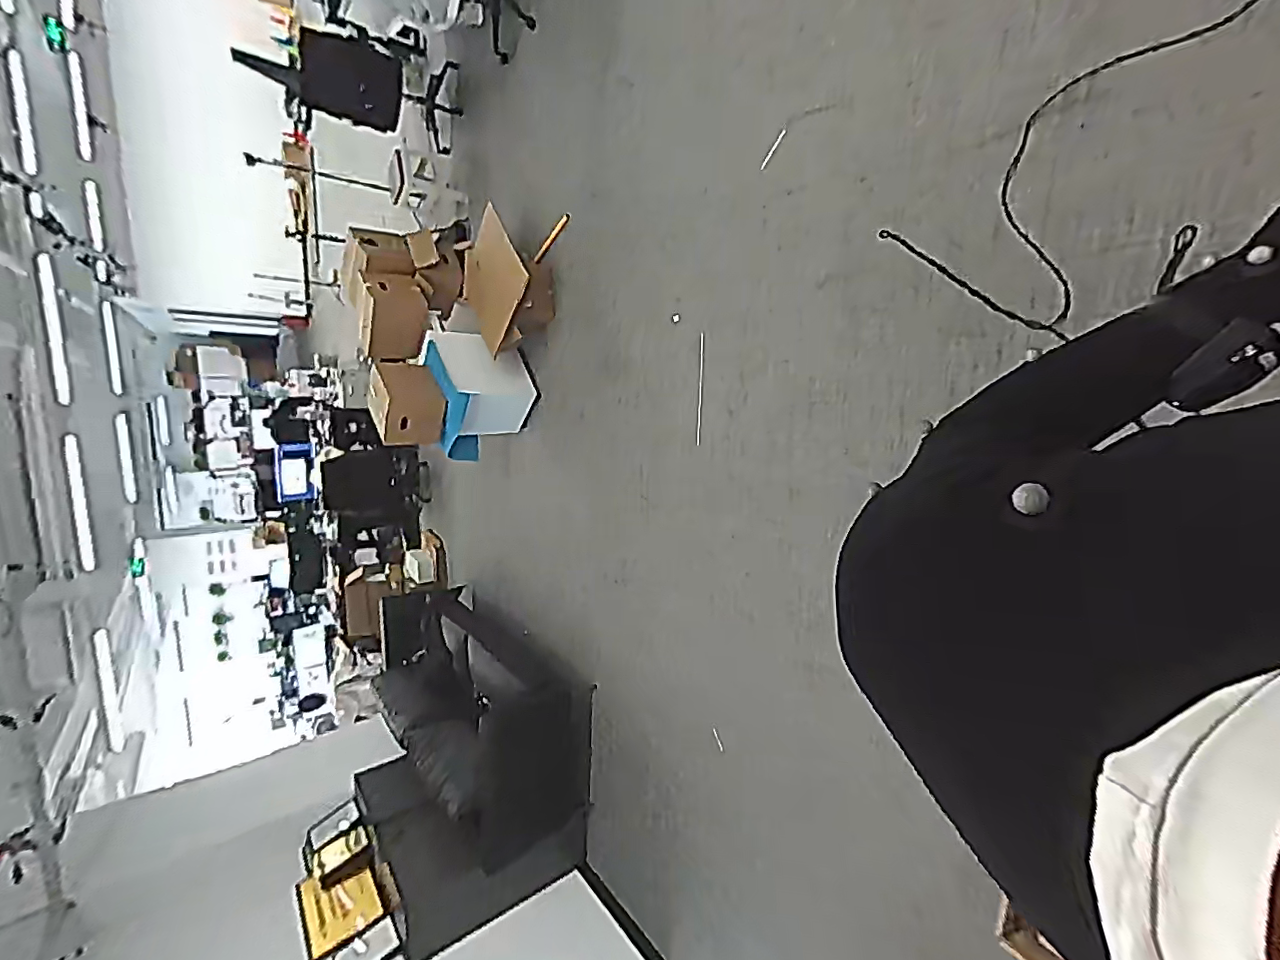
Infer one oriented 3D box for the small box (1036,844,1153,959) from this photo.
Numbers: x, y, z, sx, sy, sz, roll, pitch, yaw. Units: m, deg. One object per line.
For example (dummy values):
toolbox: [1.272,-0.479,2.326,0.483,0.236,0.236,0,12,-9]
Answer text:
small box: [1.074,1.017,1.276,0.168,0.176,0.179,18,109,50]
